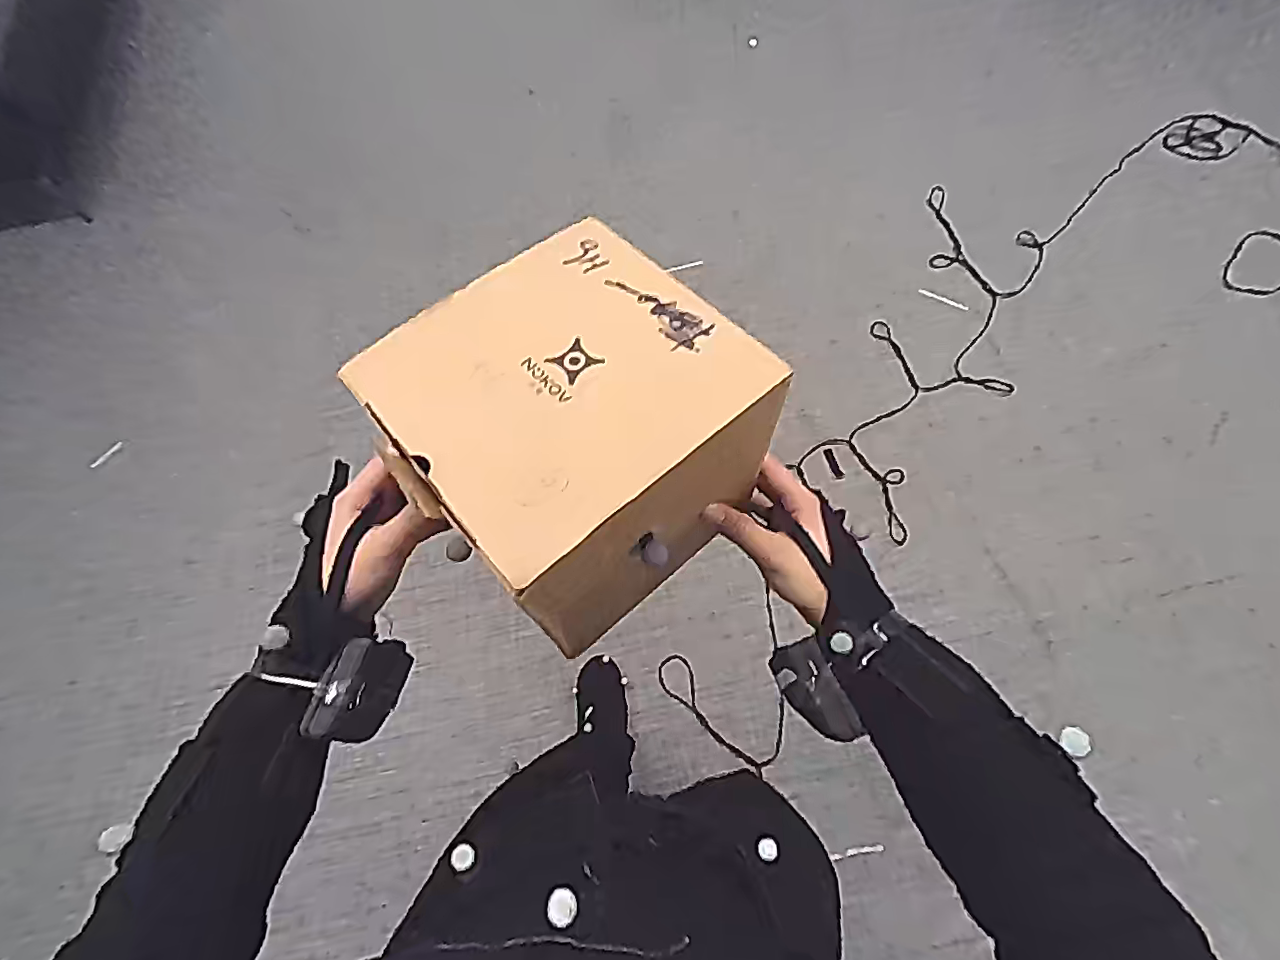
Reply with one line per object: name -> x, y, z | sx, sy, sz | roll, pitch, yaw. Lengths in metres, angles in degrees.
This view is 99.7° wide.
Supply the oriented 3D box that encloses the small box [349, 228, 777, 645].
small box -> -0.039, -0.017, 0.356 | 0.179, 0.176, 0.168 | -38, 67, -16
